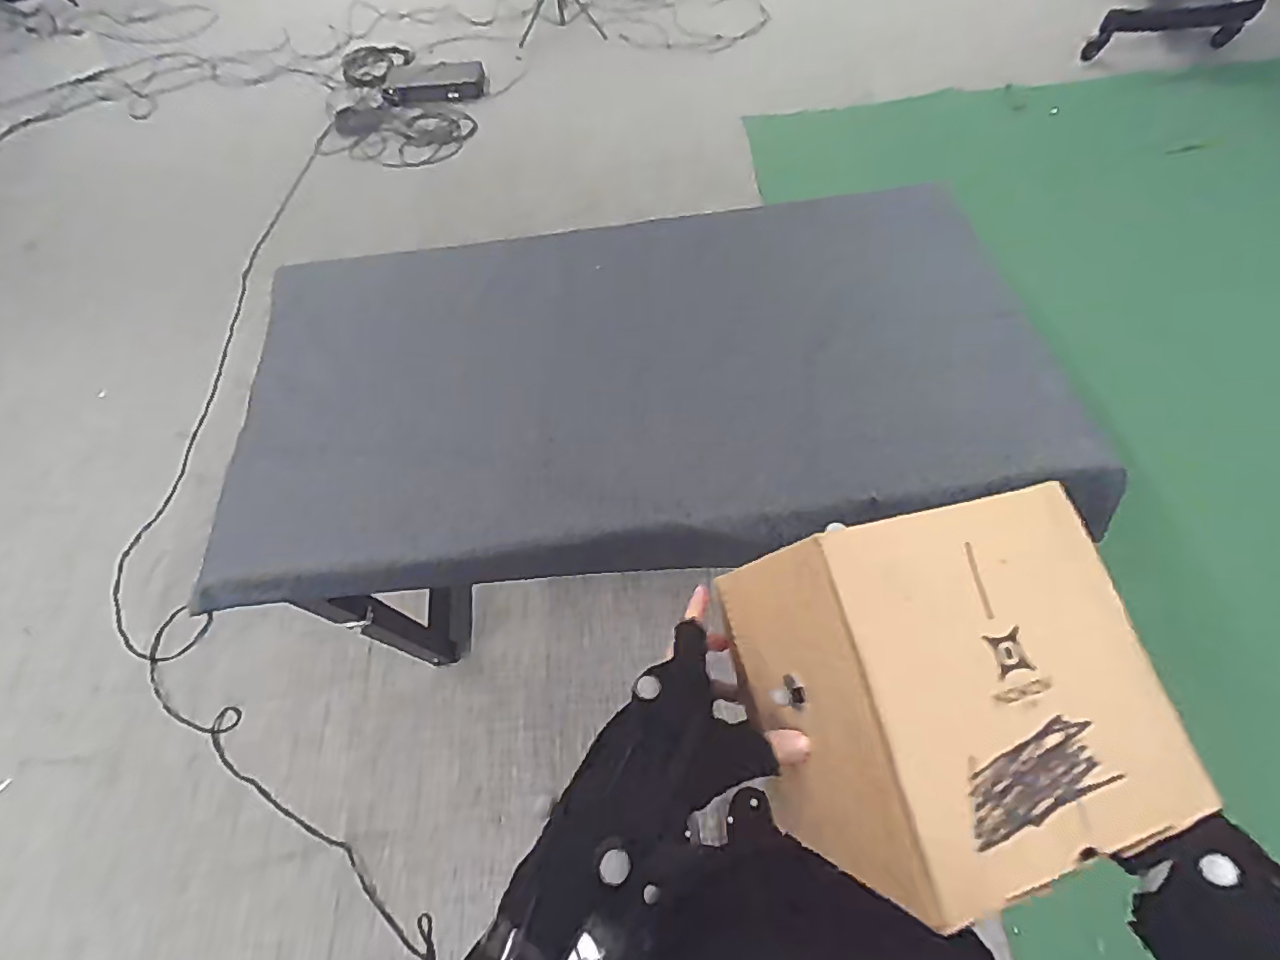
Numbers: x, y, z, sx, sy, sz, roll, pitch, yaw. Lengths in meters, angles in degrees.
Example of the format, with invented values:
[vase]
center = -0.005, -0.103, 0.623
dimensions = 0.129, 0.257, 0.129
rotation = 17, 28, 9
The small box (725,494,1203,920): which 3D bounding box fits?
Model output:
[small box]
center = 0.174, 0.126, 0.351
dimensions = 0.168, 0.176, 0.179
rotation = -9, 73, -15
